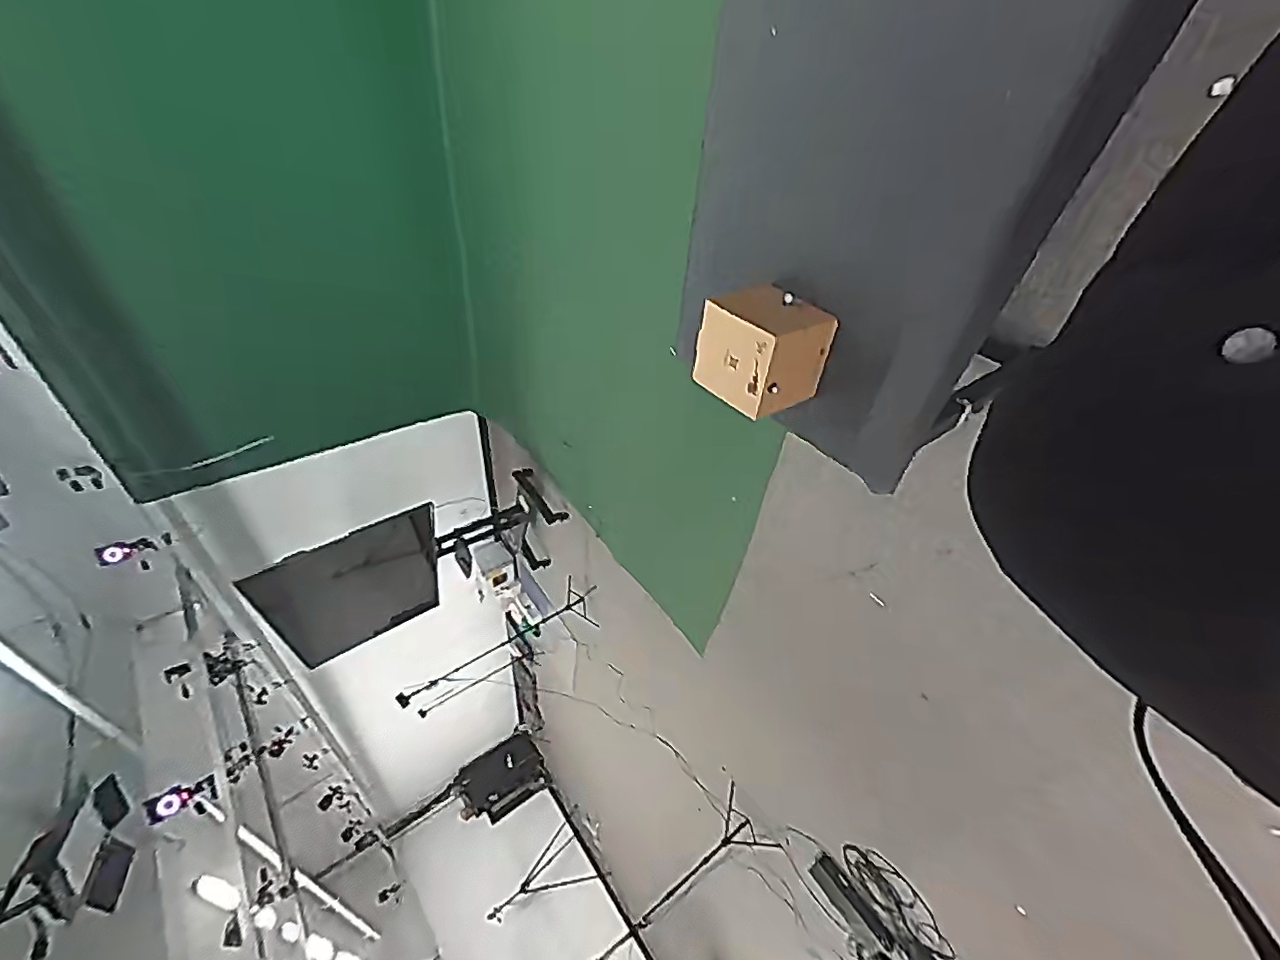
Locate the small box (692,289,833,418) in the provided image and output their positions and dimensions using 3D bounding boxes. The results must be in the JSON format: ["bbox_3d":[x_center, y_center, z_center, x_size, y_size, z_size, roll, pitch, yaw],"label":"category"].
[{"bbox_3d":[0.225,-0.246,1.017,0.179,0.176,0.168,43,144,35],"label":"small box"}]
